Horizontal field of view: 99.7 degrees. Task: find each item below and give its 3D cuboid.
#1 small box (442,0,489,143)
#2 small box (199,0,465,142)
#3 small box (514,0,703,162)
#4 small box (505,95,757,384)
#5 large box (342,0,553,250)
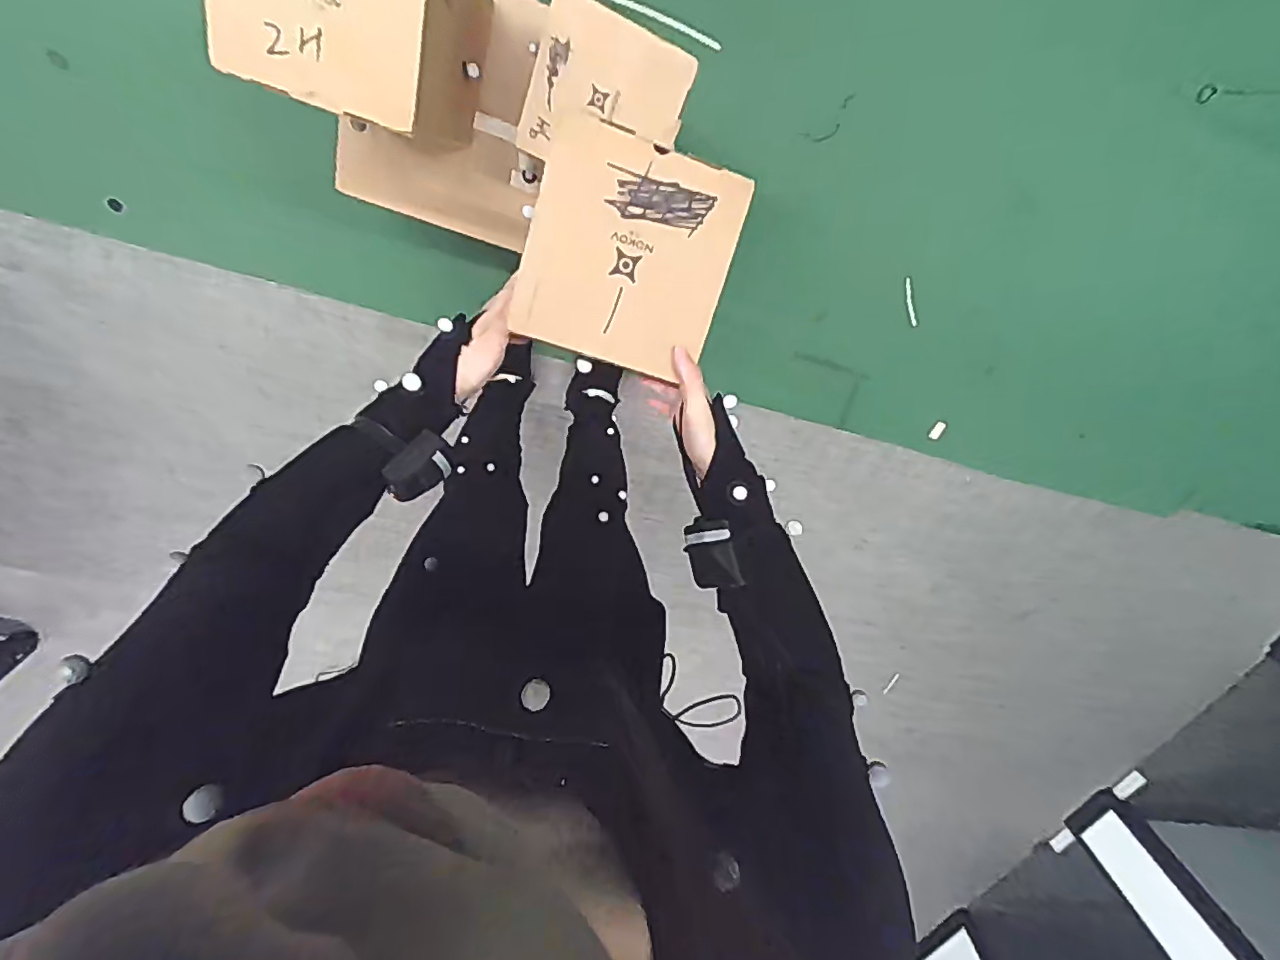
[{"bbox_3d":[-0.282,-0.525,0.637,0.168,0.176,0.179,14,117,-14],"label":"small box"},{"bbox_3d":[-0.265,-0.439,0.497,0.168,0.176,0.179,14,117,-14],"label":"small box"},{"bbox_3d":[-0.045,-0.470,0.691,0.179,0.176,0.168,19,116,-15],"label":"small box"},{"bbox_3d":[-0.018,-0.203,0.507,0.168,0.176,0.179,16,102,-11],"label":"small box"},{"bbox_3d":[-0.220,-0.579,0.893,0.408,0.320,0.320,13,118,-14],"label":"large box"}]
